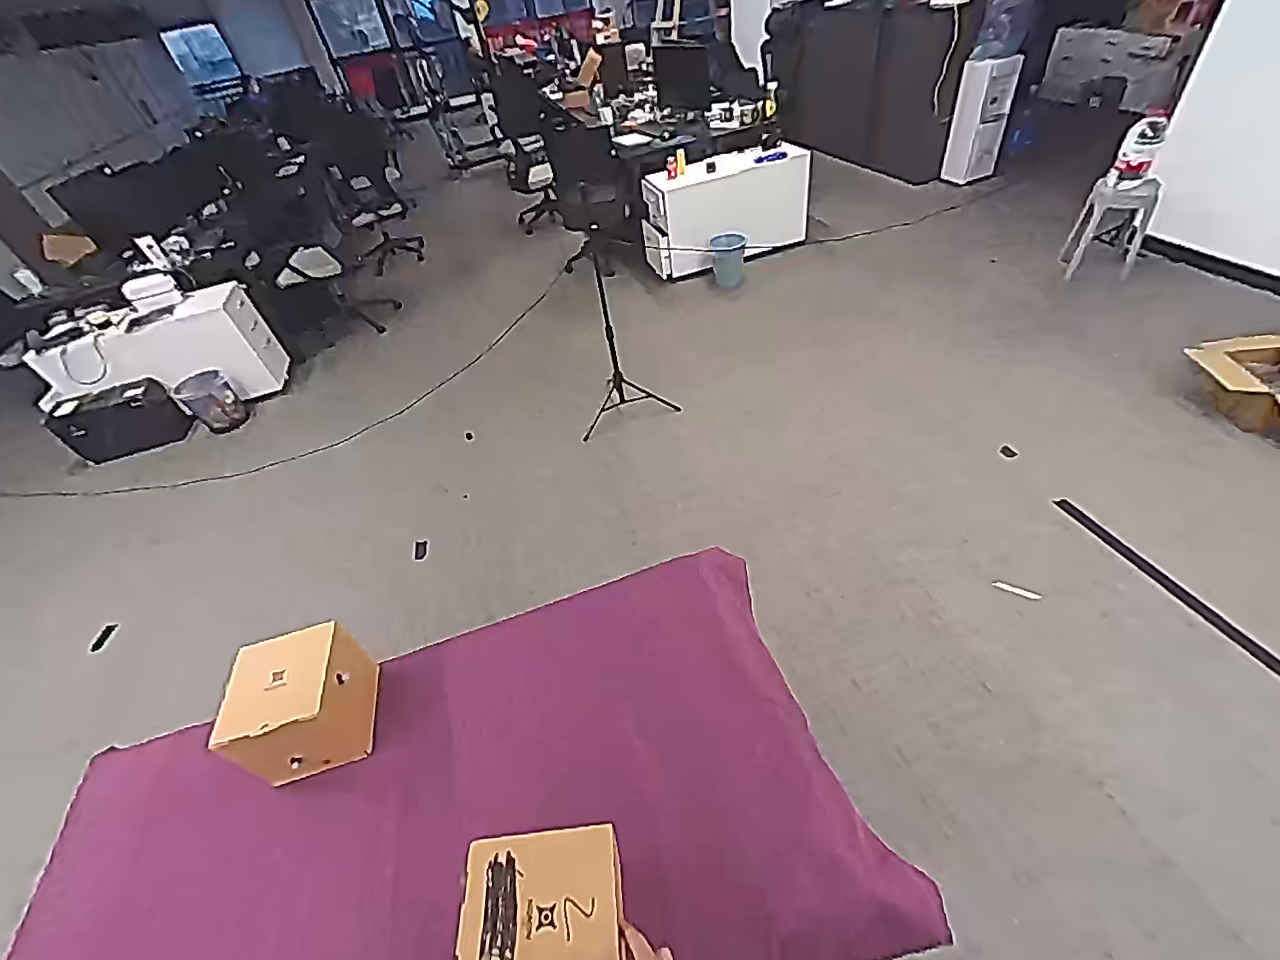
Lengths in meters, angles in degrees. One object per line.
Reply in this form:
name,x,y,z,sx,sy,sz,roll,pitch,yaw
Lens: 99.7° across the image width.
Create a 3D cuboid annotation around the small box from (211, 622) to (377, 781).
small box,-0.574,0.381,0.930,0.168,0.176,0.179,-16,44,-6
